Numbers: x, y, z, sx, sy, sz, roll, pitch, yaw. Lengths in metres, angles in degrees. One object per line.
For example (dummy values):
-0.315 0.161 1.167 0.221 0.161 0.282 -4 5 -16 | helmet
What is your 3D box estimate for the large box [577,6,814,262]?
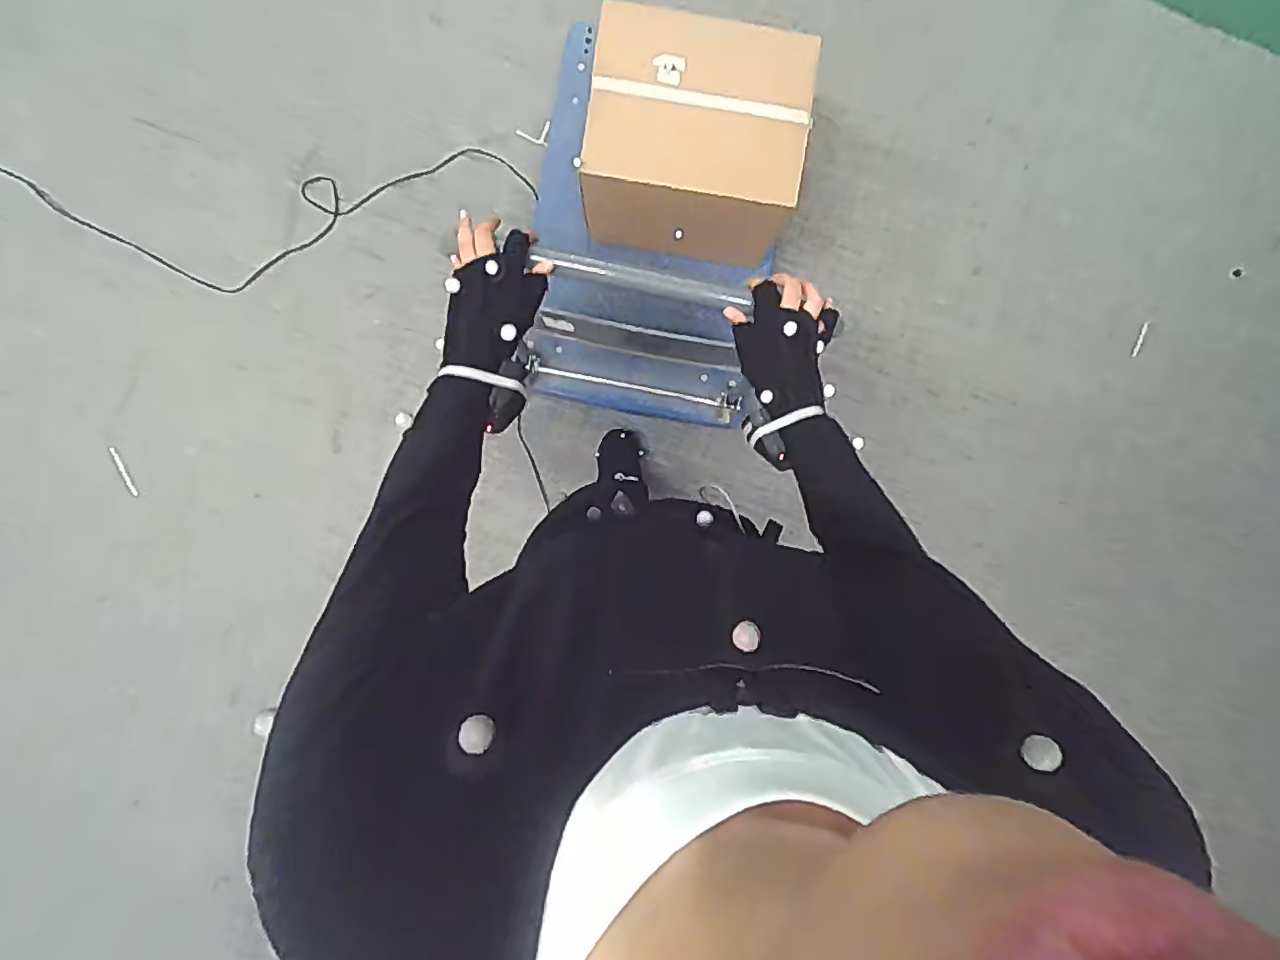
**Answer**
0.101 -0.684 1.130 0.408 0.320 0.320 9 91 -1 | large box
